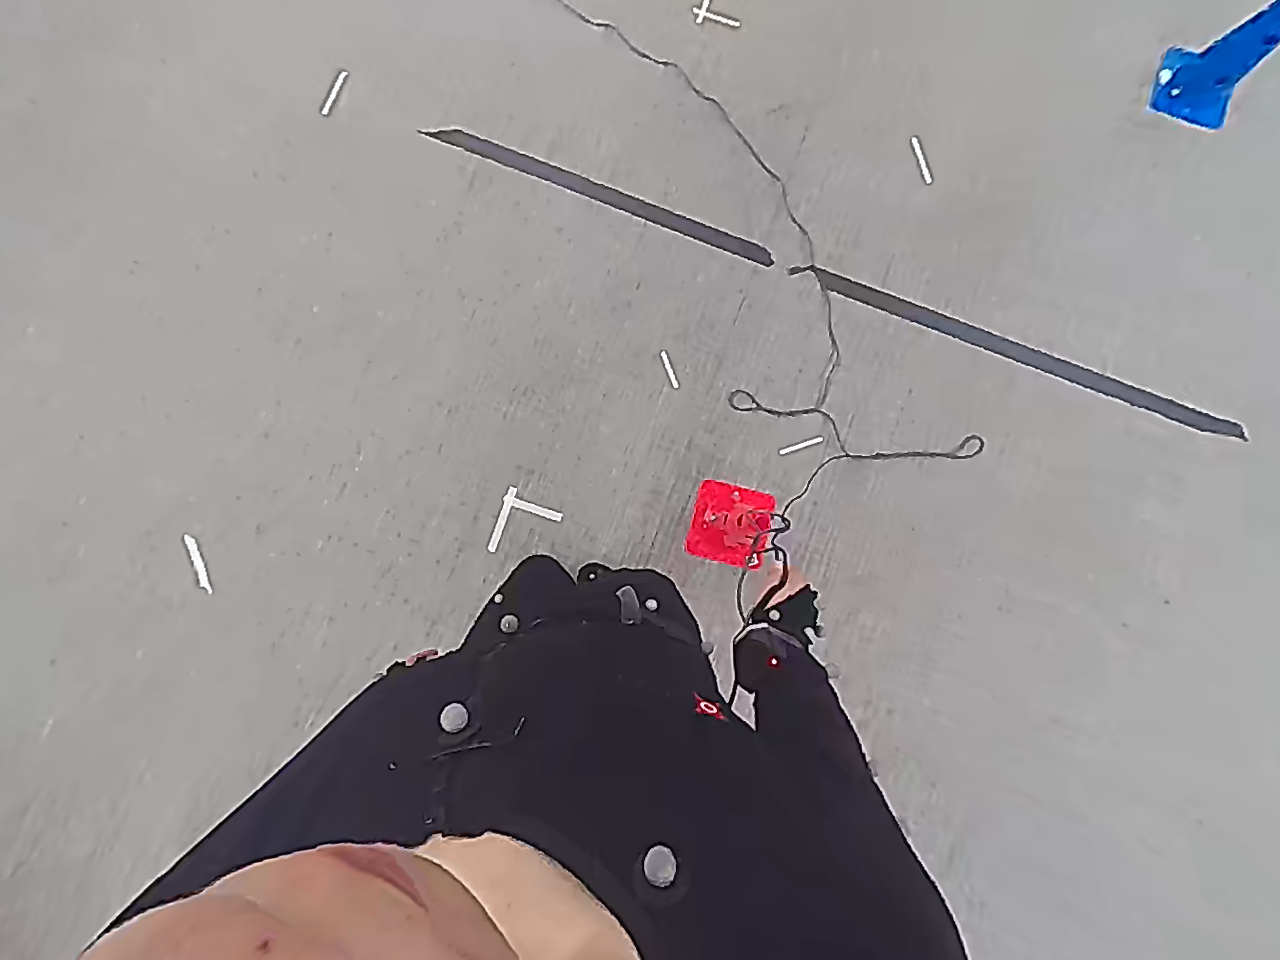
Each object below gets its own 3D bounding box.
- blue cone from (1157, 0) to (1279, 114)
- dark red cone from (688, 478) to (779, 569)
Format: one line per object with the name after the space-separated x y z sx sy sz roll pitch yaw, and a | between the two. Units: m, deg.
1.510 -1.112 1.306 0.193 0.380 0.192 22 84 2 | blue cone
0.229 0.088 1.175 0.202 0.394 0.201 14 84 2 | dark red cone
